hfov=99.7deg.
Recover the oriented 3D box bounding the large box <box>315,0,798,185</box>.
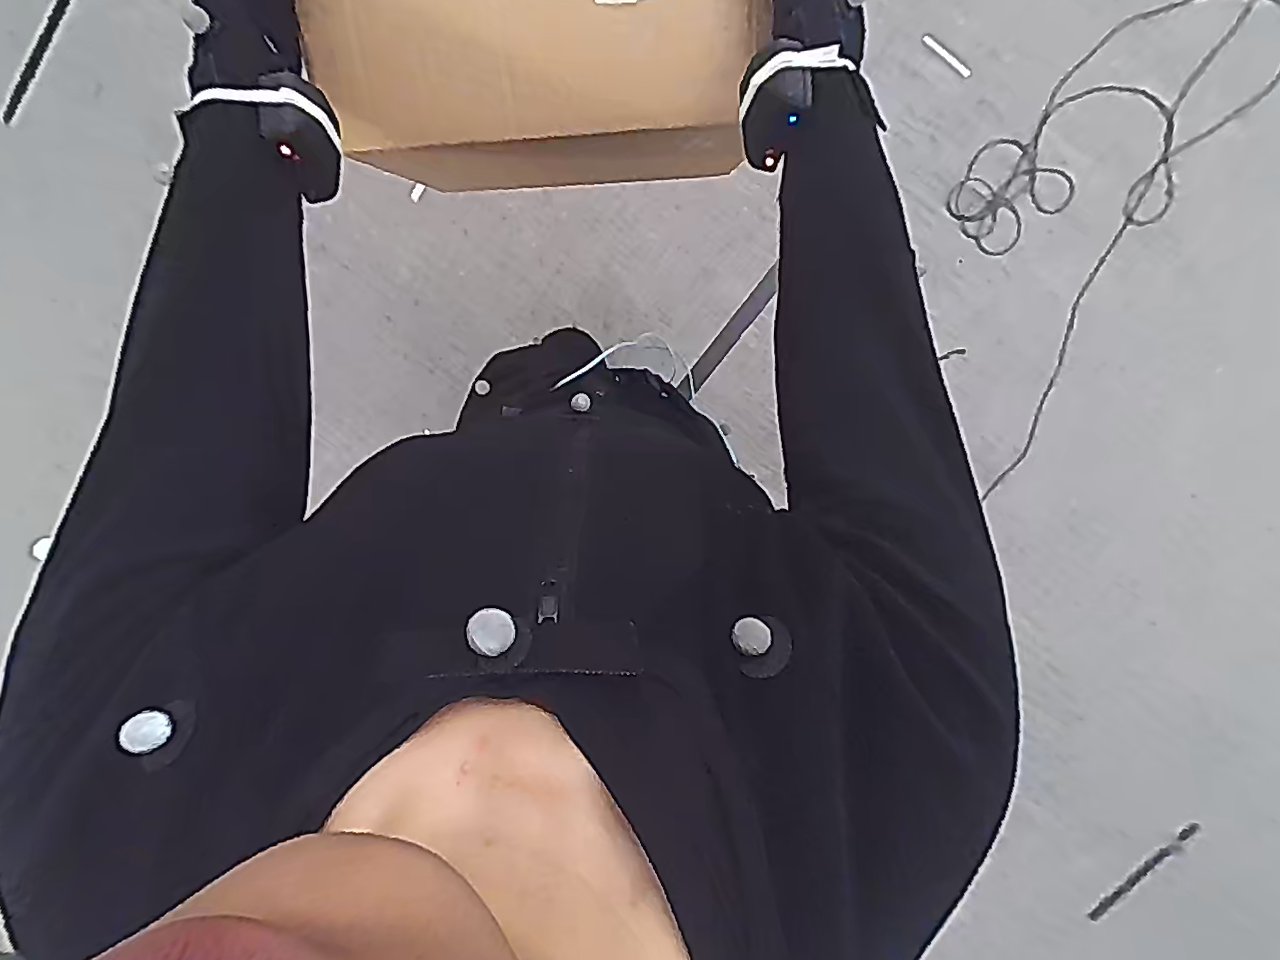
[{"bbox_3d":[-0.076,-0.510,0.558,0.408,0.320,0.320,-3,112,-1],"label":"large box"}]
